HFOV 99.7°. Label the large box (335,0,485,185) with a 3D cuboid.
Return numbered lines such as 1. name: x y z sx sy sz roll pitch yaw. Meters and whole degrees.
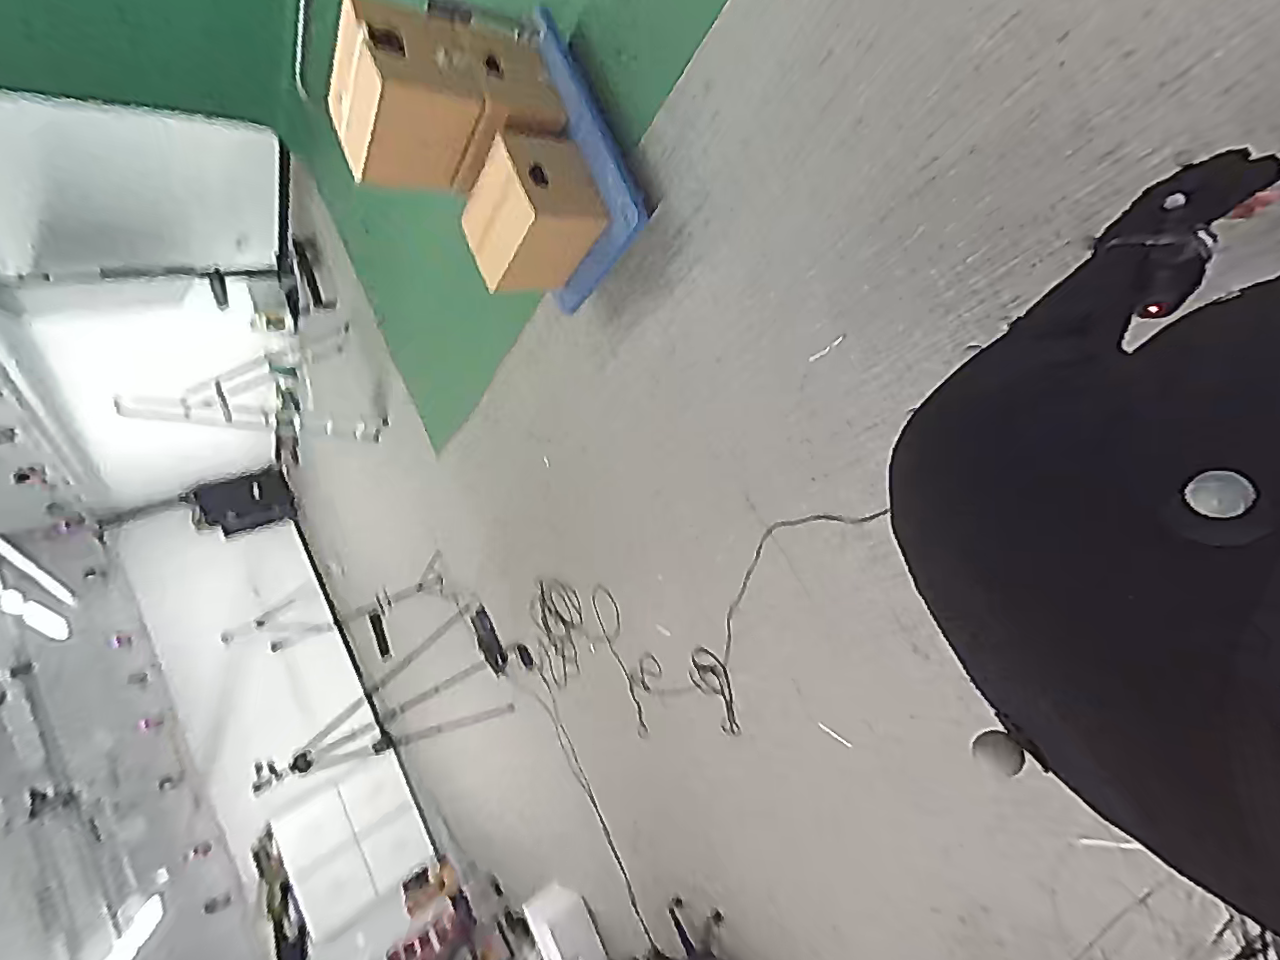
1. large box: -0.742 -1.222 1.729 0.408 0.320 0.320 -26 84 52
